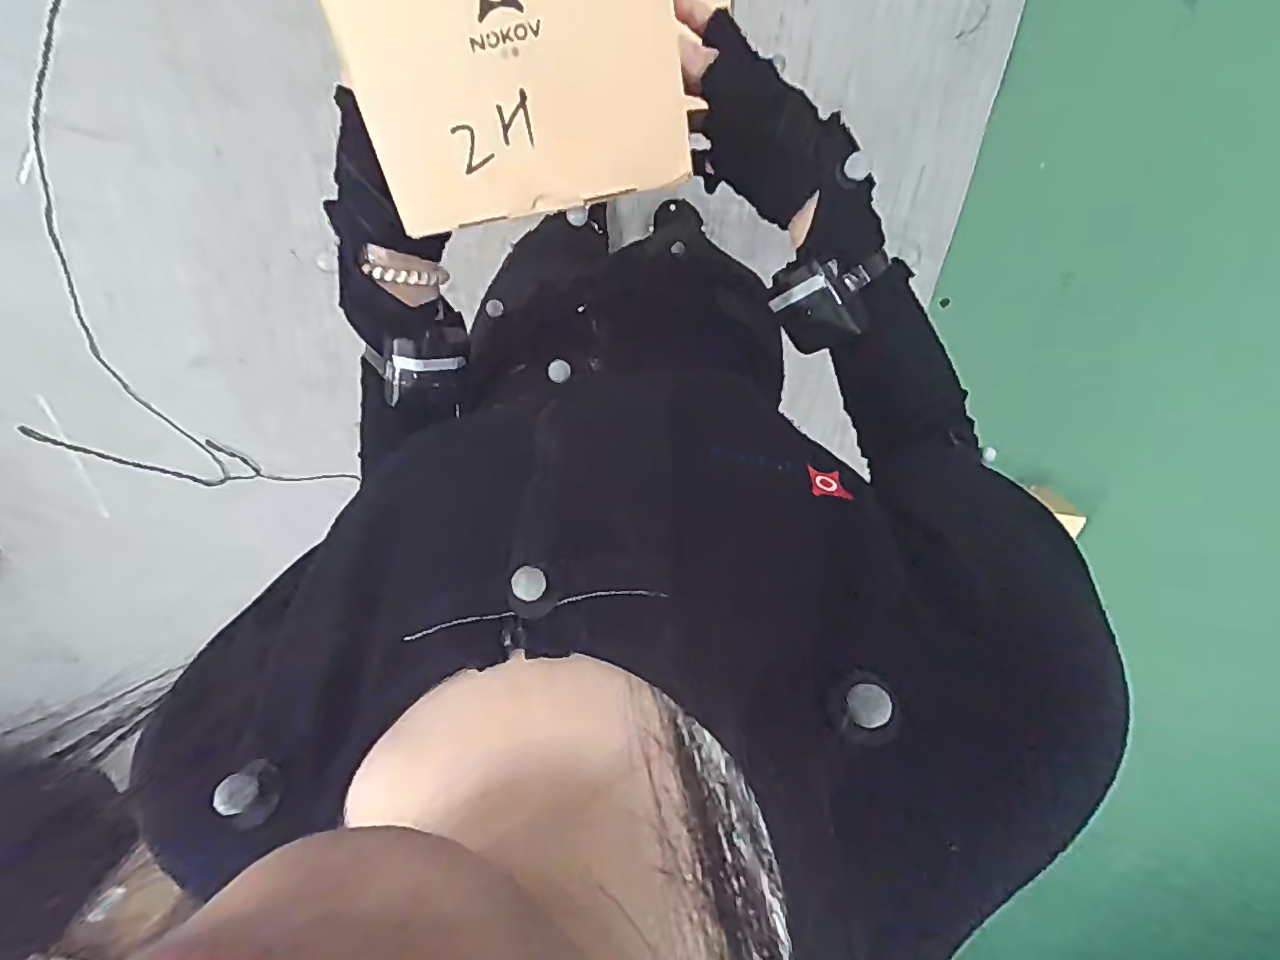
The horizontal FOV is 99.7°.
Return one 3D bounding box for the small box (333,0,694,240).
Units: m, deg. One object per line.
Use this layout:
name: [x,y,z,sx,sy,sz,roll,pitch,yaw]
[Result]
small box: [-0.061,-0.259,0.330,0.168,0.176,0.179,-7,119,7]
